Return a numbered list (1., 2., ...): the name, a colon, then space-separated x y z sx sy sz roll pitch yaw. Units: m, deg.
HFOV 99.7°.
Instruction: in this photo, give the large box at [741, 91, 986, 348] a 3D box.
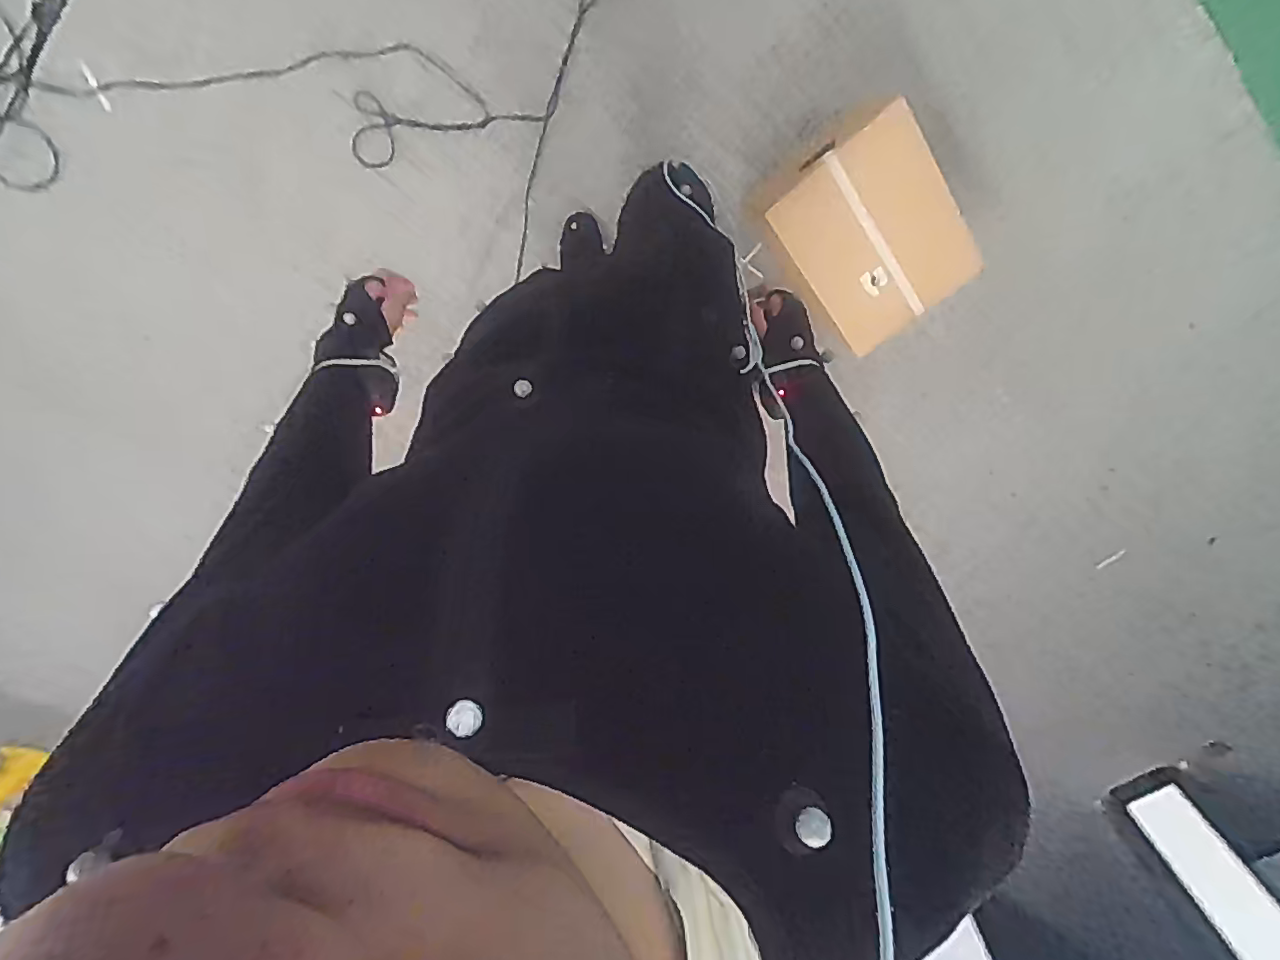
1. large box: 0.495 -0.592 1.256 0.320 0.320 0.408 -36 115 20
